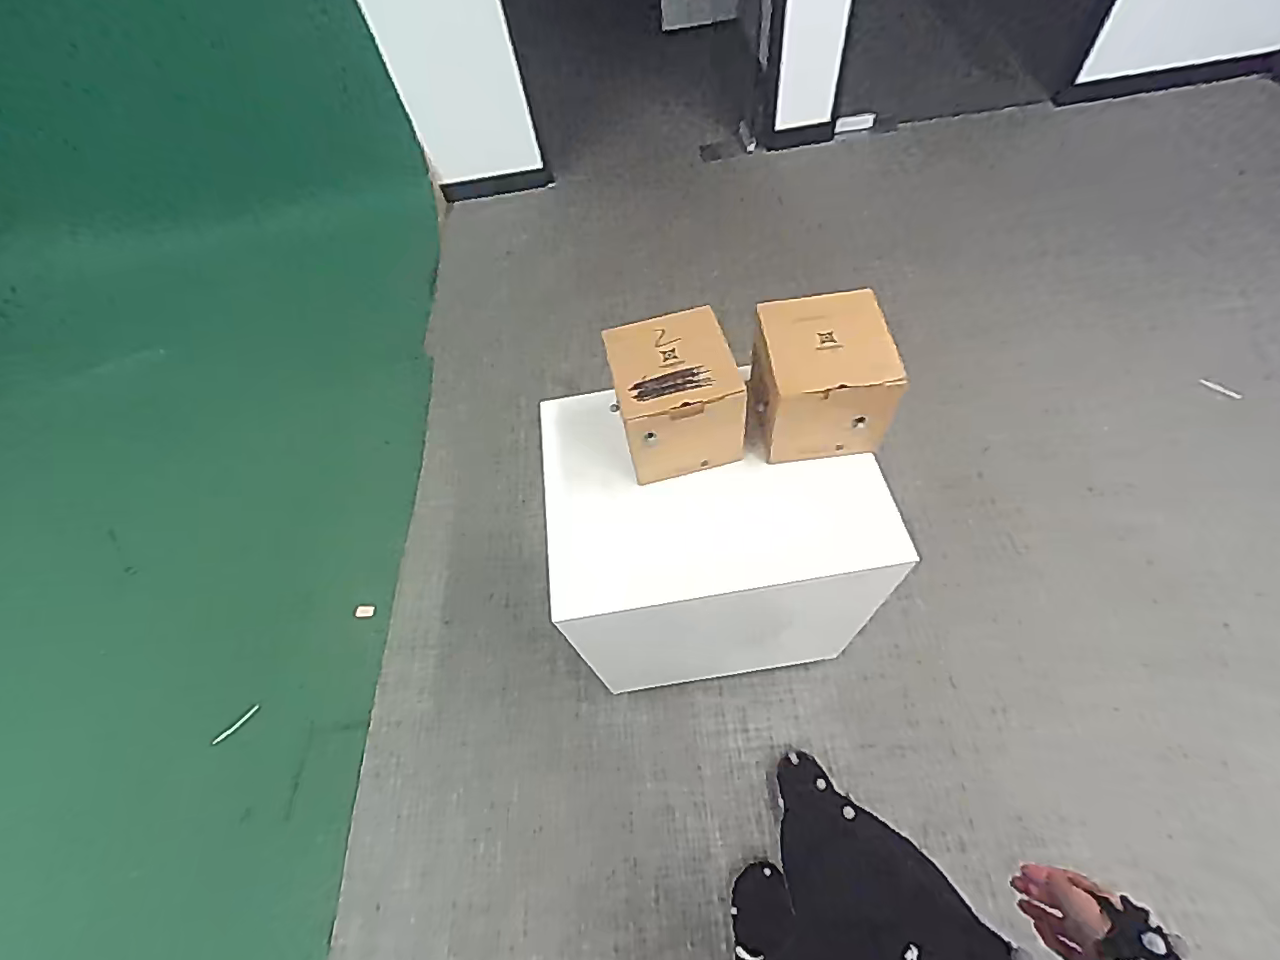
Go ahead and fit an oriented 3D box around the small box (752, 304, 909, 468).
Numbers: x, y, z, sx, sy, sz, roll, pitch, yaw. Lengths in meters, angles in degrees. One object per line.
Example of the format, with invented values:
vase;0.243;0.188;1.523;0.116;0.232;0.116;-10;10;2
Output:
small box;0.266;-0.129;0.800;0.168;0.176;0.179;-6;57;2
